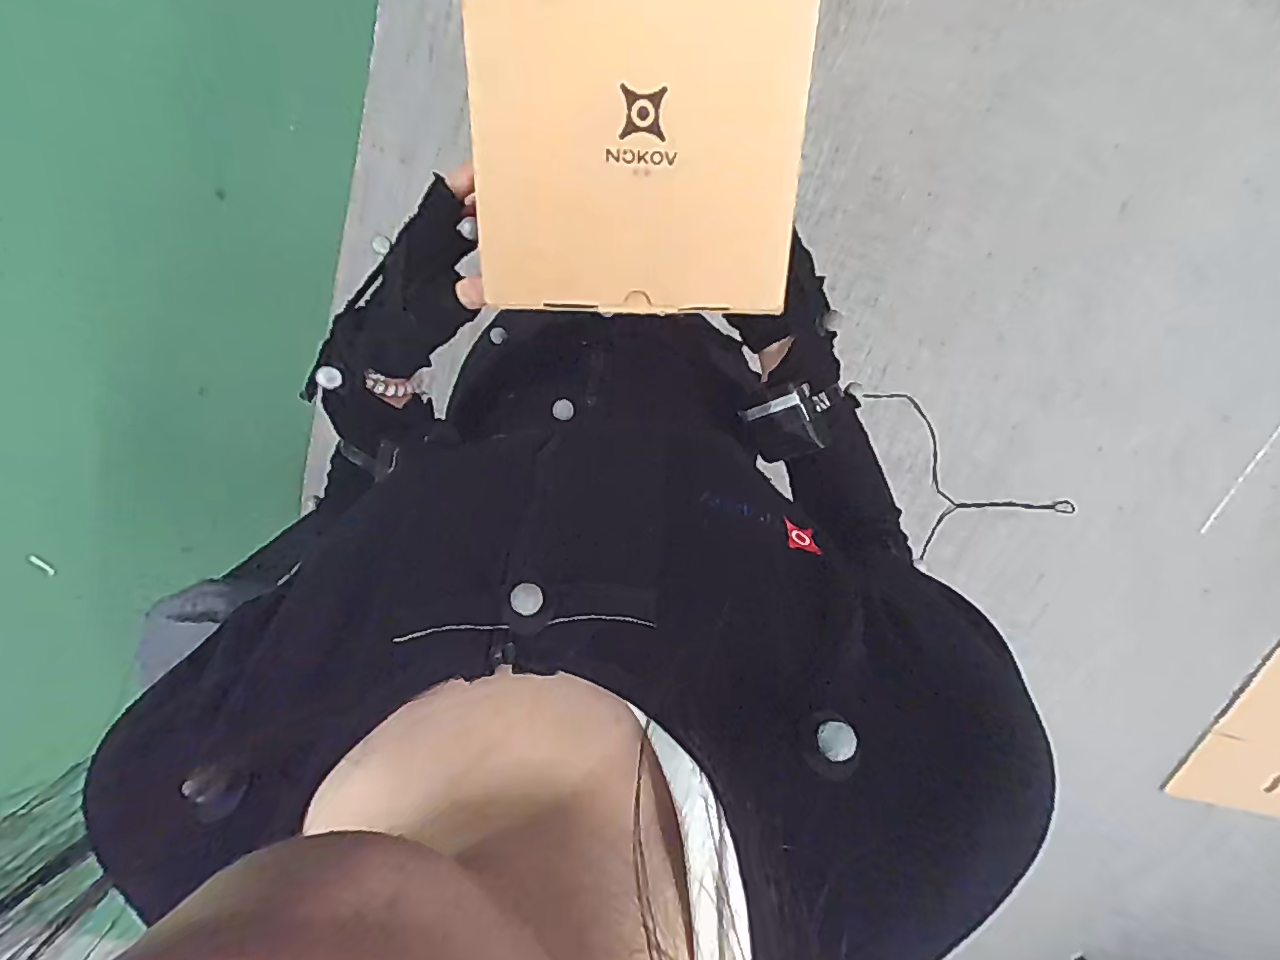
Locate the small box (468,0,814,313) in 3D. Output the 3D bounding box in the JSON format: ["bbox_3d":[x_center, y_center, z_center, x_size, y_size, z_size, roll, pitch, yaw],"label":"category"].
[{"bbox_3d":[-0.008,-0.207,0.344,0.168,0.176,0.179,0,113,-5],"label":"small box"}]
